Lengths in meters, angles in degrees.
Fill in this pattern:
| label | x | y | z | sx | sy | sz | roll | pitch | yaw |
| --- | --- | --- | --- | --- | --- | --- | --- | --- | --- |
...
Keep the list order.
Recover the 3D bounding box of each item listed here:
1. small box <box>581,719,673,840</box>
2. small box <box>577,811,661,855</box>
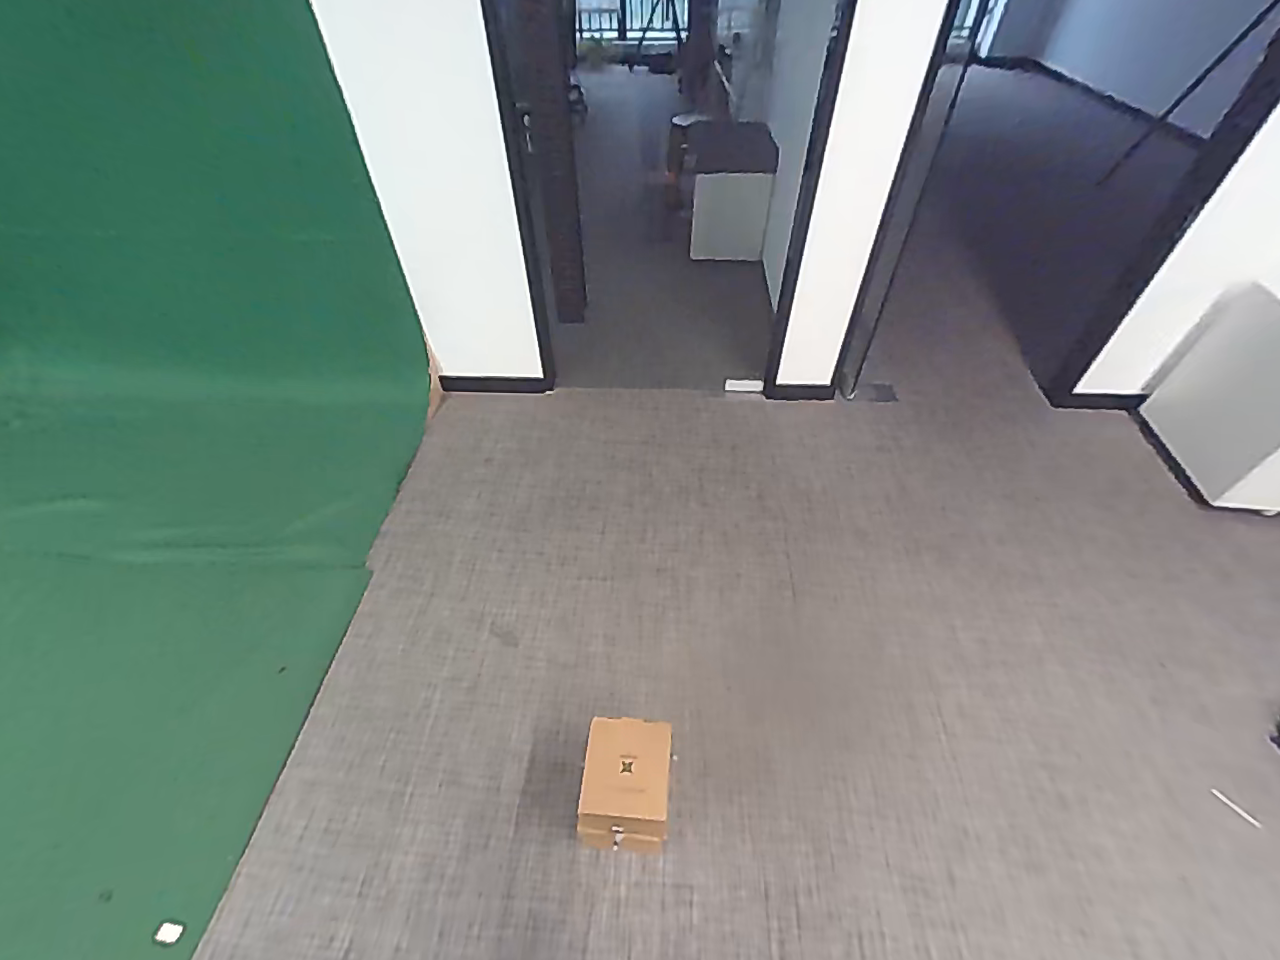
| label | x | y | z | sx | sy | sz | roll | pitch | yaw |
| --- | --- | --- | --- | --- | --- | --- | --- | --- | --- |
| small box | -0.020 | 0.615 | 1.110 | 0.168 | 0.176 | 0.179 | 2 | 47 | 5 |
| small box | -0.034 | 0.731 | 1.221 | 0.179 | 0.176 | 0.168 | 3 | 46 | 5 |
